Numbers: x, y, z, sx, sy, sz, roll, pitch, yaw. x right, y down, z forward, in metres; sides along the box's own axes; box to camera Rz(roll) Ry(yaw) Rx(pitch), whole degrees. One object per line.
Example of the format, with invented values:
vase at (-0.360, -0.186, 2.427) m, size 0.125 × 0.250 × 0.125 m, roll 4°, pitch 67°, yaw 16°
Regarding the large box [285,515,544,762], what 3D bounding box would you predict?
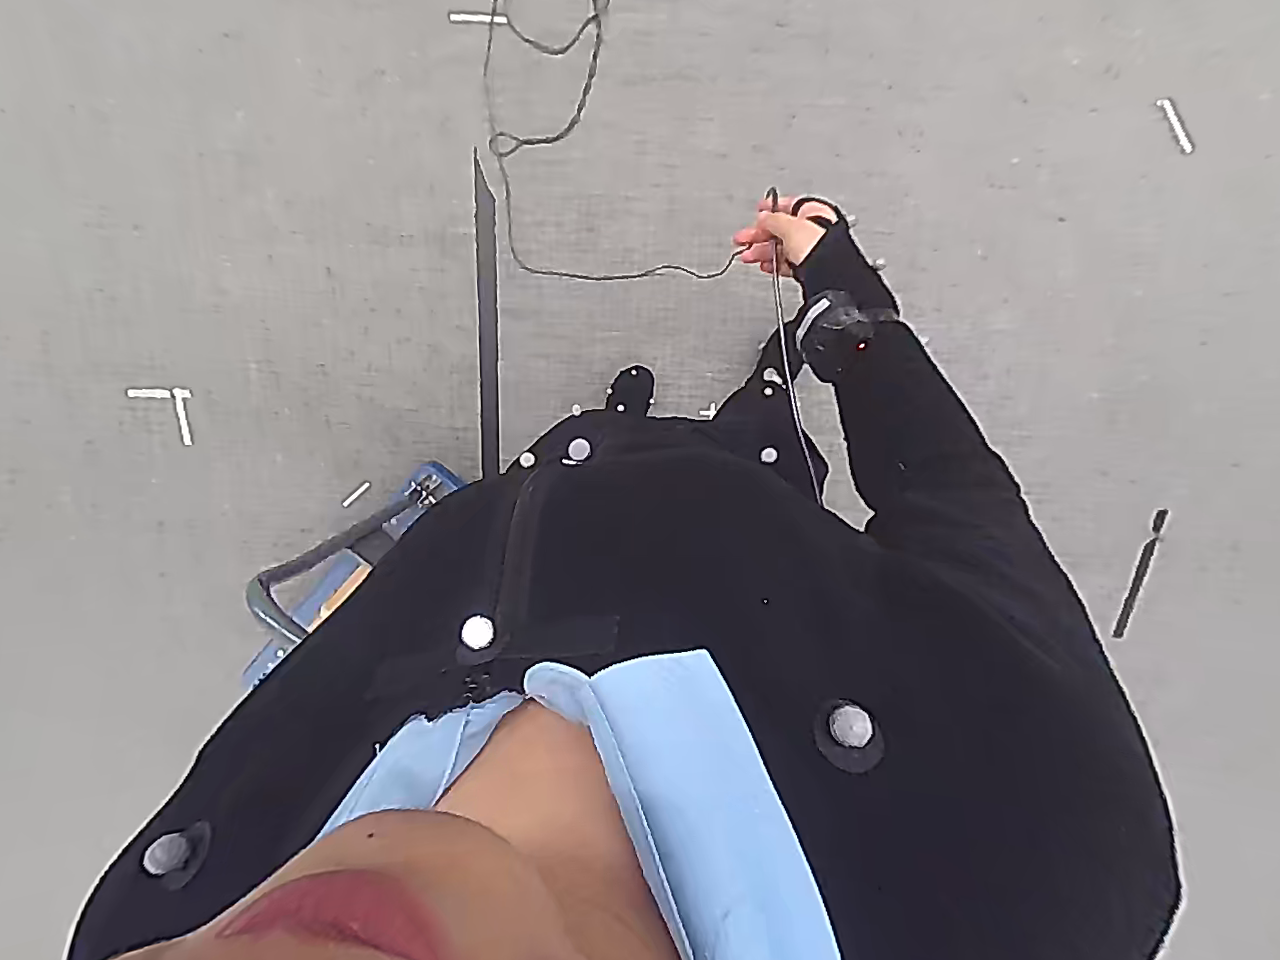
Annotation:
large box at (-0.501, 0.357, 1.284) m, size 0.408 × 0.320 × 0.320 m, roll 43°, pitch 102°, yaw -8°
